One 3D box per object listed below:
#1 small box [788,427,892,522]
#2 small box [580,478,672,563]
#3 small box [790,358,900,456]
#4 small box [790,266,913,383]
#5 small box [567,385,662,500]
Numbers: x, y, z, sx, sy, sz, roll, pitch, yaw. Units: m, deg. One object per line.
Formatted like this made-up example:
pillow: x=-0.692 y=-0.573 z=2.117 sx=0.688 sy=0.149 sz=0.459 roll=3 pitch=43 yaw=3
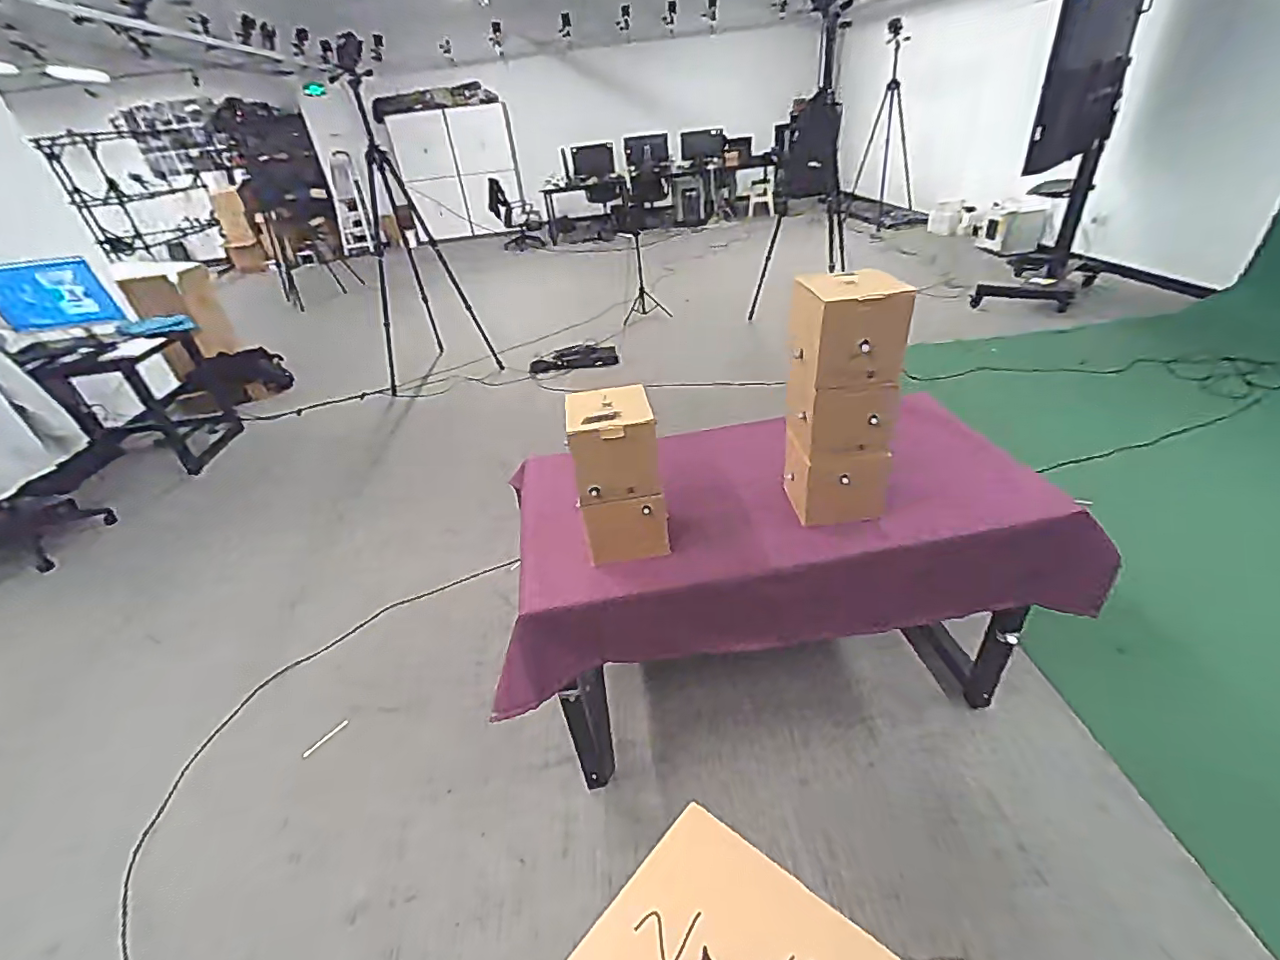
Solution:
small box: x=0.437 y=-0.020 z=1.213 sx=0.179 sy=0.176 sz=0.168 roll=-7 pitch=35 yaw=2
small box: x=-0.032 y=0.065 z=1.192 sx=0.179 sy=0.176 sz=0.168 roll=-9 pitch=34 yaw=-2
small box: x=0.417 y=-0.159 z=1.129 sx=0.168 sy=0.176 sz=0.179 roll=-7 pitch=33 yaw=2
small box: x=0.394 y=-0.294 z=1.038 sx=0.168 sy=0.176 sz=0.179 roll=-7 pitch=35 yaw=1
small box: x=-0.053 y=-0.072 z=1.104 sx=0.168 sy=0.176 sz=0.179 roll=-9 pitch=33 yaw=-3
